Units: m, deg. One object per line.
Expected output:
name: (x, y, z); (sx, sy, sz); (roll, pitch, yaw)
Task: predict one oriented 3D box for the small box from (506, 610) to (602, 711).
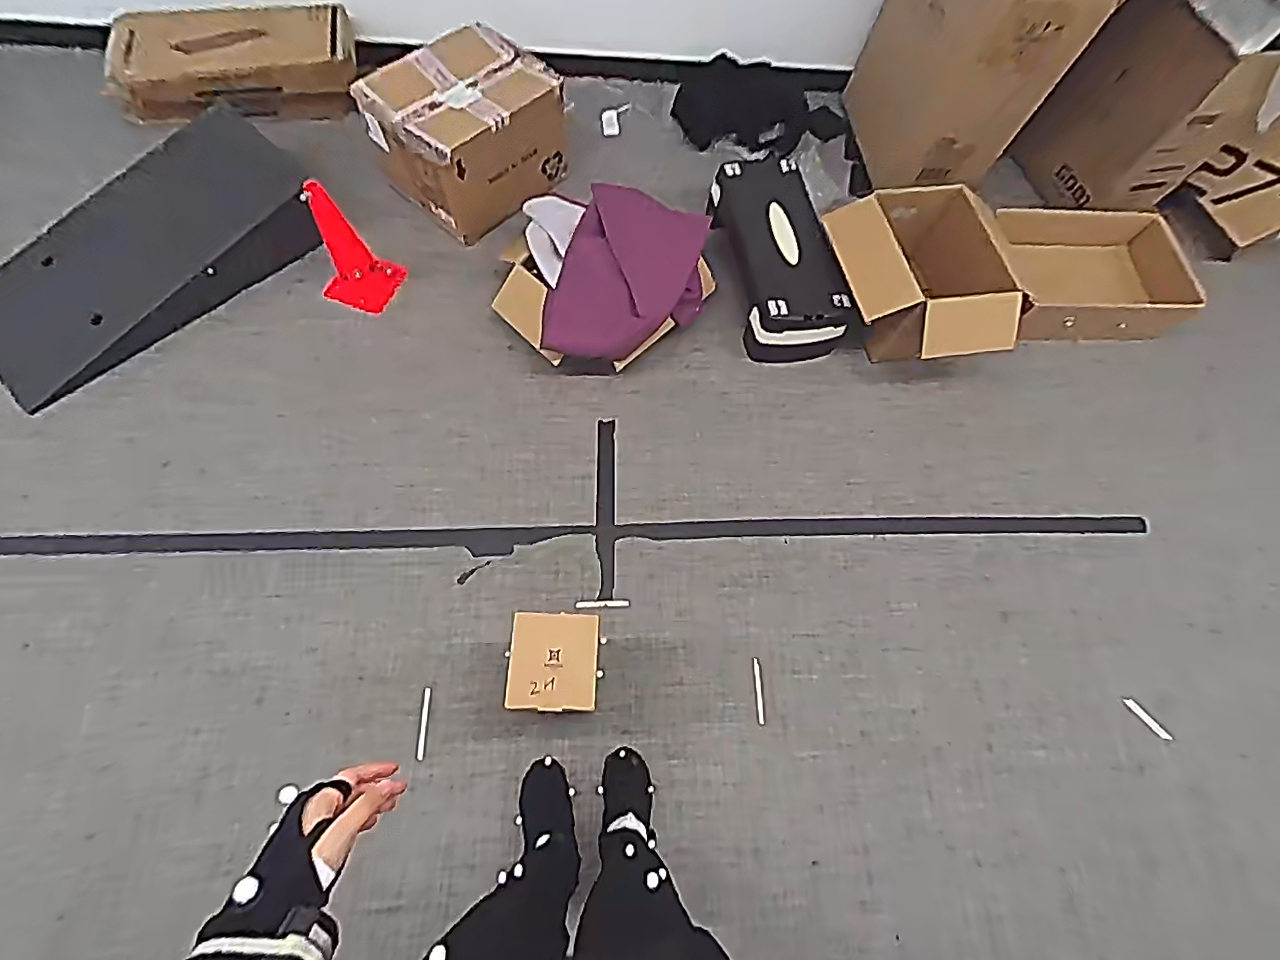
small box: (-0.167, 0.368, 1.093); (0.168, 0.176, 0.179); (3, 68, -3)
